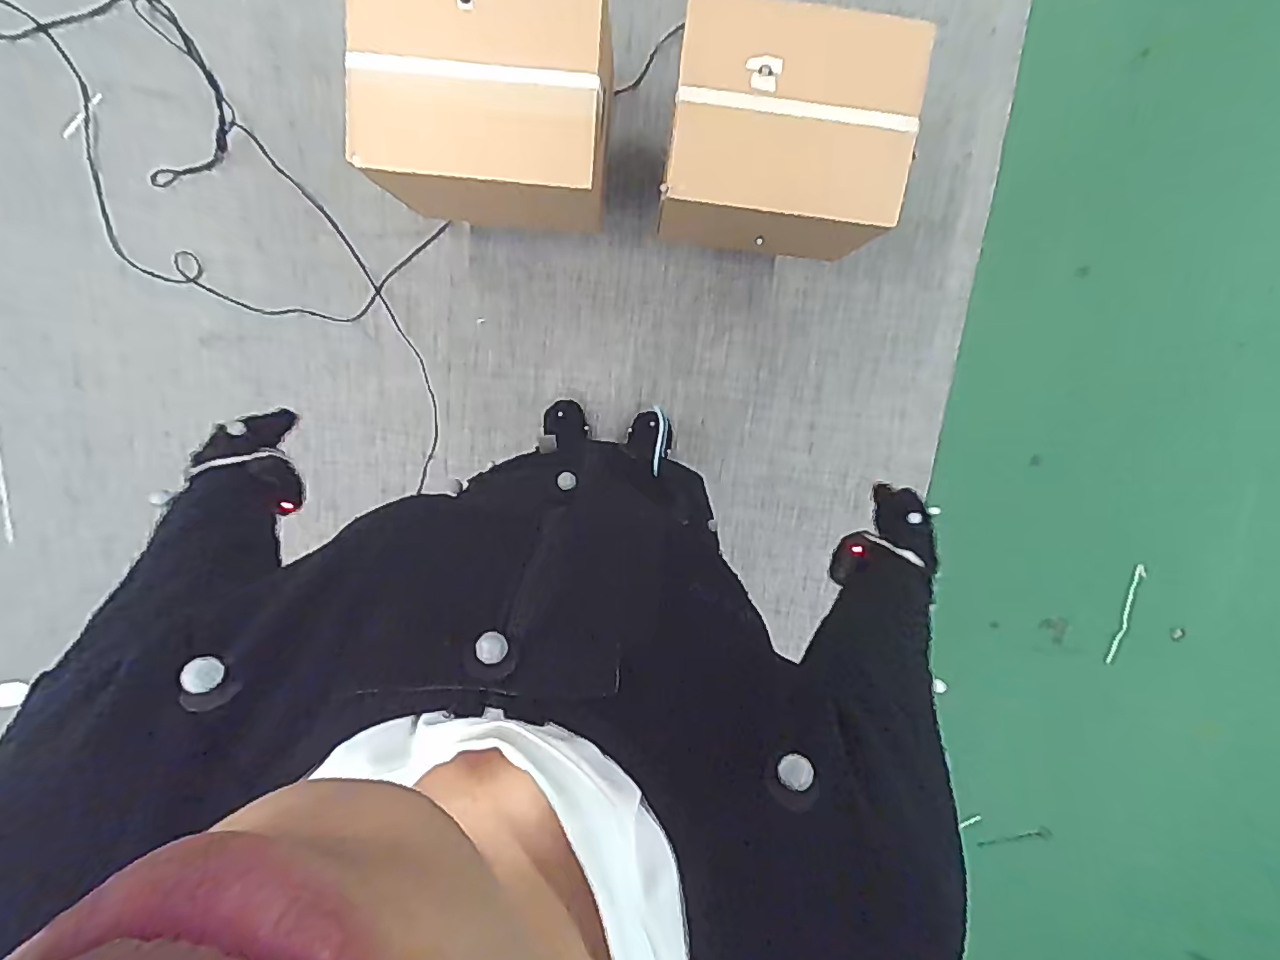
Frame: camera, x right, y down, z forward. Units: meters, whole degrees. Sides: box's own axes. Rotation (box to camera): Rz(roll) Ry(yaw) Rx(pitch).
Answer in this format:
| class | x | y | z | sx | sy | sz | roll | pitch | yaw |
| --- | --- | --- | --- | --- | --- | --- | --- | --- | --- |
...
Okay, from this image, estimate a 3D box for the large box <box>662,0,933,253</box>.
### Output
| class | x | y | z | sx | sy | sz | roll | pitch | yaw |
| --- | --- | --- | --- | --- | --- | --- | --- | --- | --- |
| large box | 0.265 | -0.647 | 1.049 | 0.408 | 0.320 | 0.320 | 7 | 102 | -2 |
